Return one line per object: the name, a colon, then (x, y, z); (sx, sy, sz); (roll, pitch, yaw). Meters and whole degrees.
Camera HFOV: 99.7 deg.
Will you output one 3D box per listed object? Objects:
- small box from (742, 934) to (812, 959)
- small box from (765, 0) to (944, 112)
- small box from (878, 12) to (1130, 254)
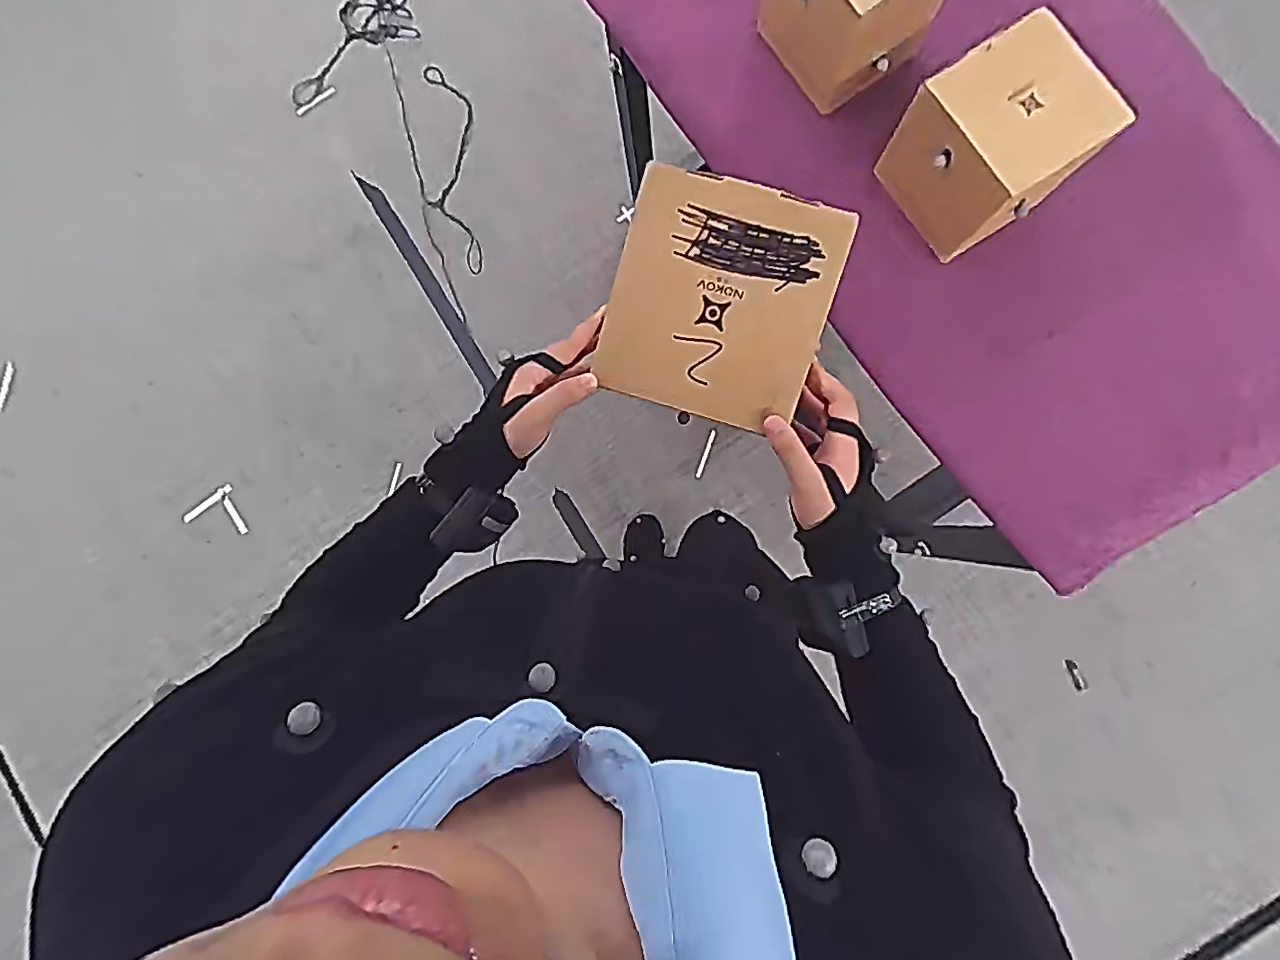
small box: (0.351, 1.228, 1.271); (0.168, 0.176, 0.179); (-37, 85, 1)
small box: (0.290, -0.659, 0.731); (0.168, 0.176, 0.179); (-33, 85, 2)
small box: (0.451, -0.427, 0.704); (0.168, 0.176, 0.179); (-33, 85, 0)
